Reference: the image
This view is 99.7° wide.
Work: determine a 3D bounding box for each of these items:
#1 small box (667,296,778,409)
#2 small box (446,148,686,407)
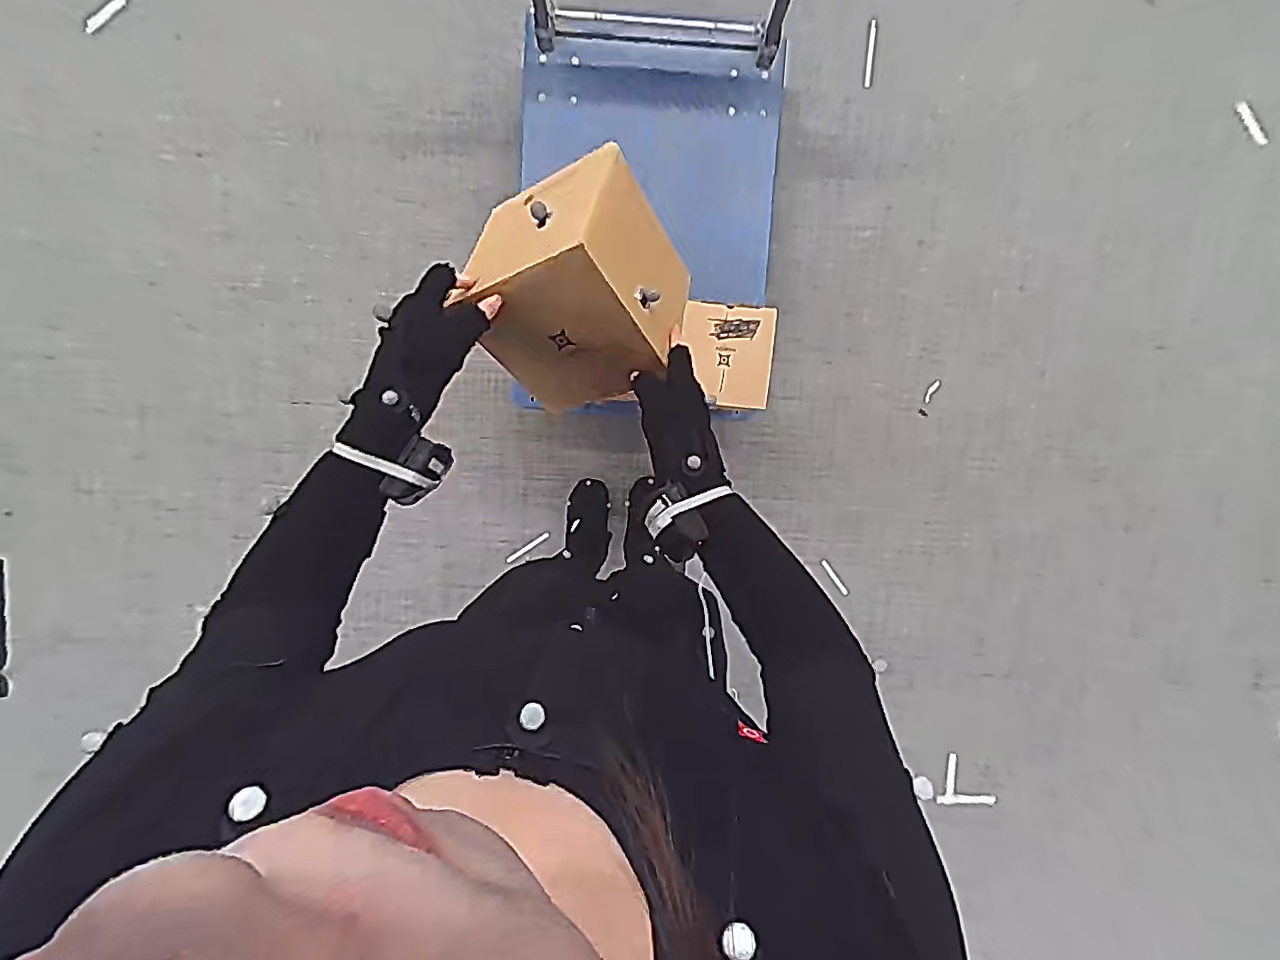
[{"bbox_3d":[0.145,-0.231,1.019,0.168,0.176,0.179,6,97,-3],"label":"small box"},{"bbox_3d":[-0.064,-0.209,0.570,0.168,0.179,0.176,-10,56,31],"label":"small box"}]
